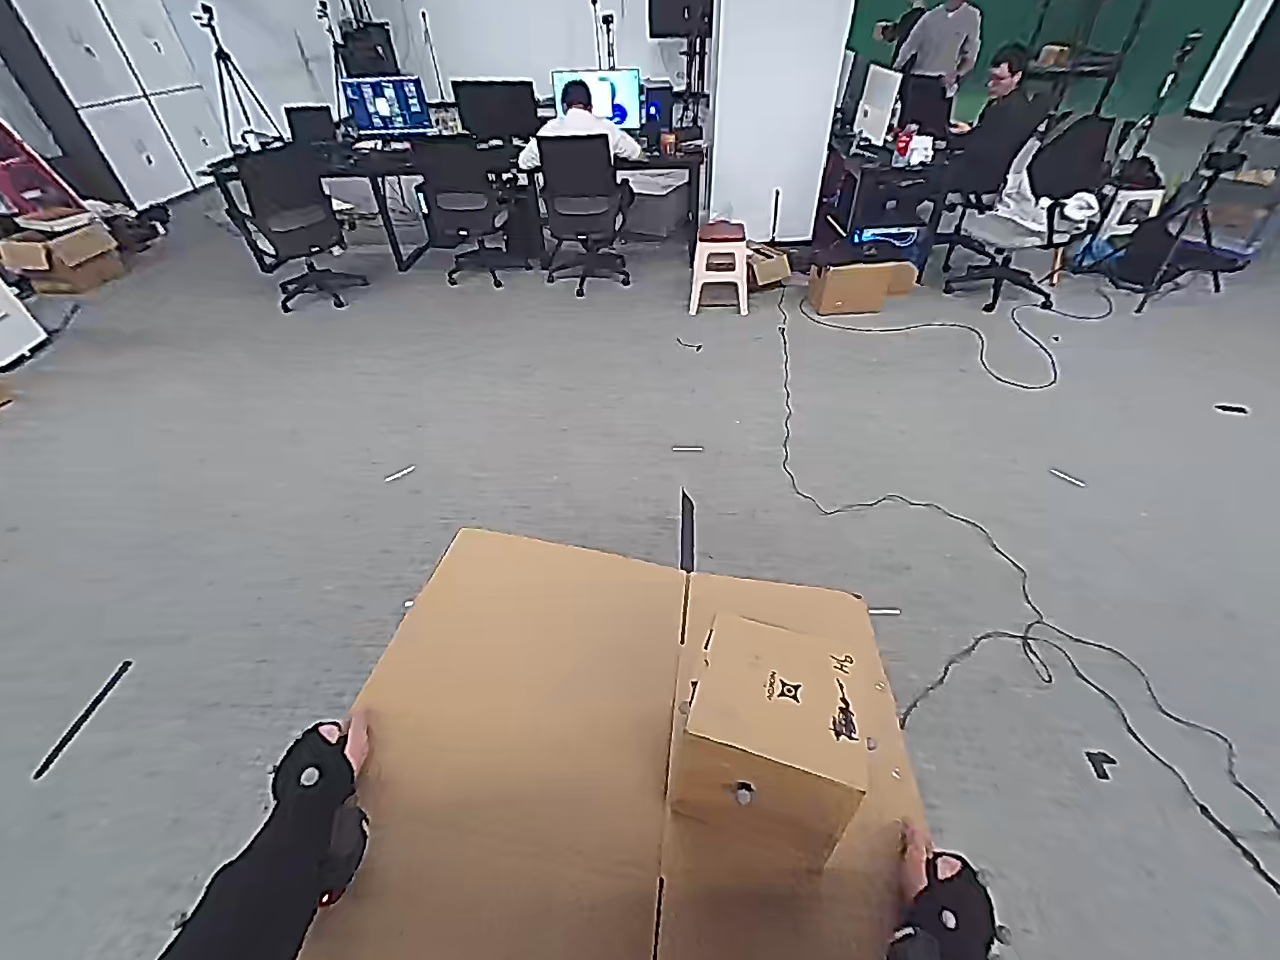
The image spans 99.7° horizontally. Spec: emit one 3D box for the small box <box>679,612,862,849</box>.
[{"bbox_3d":[0.148,0.287,0.628,0.179,0.176,0.168,11,37,14],"label":"small box"}]
